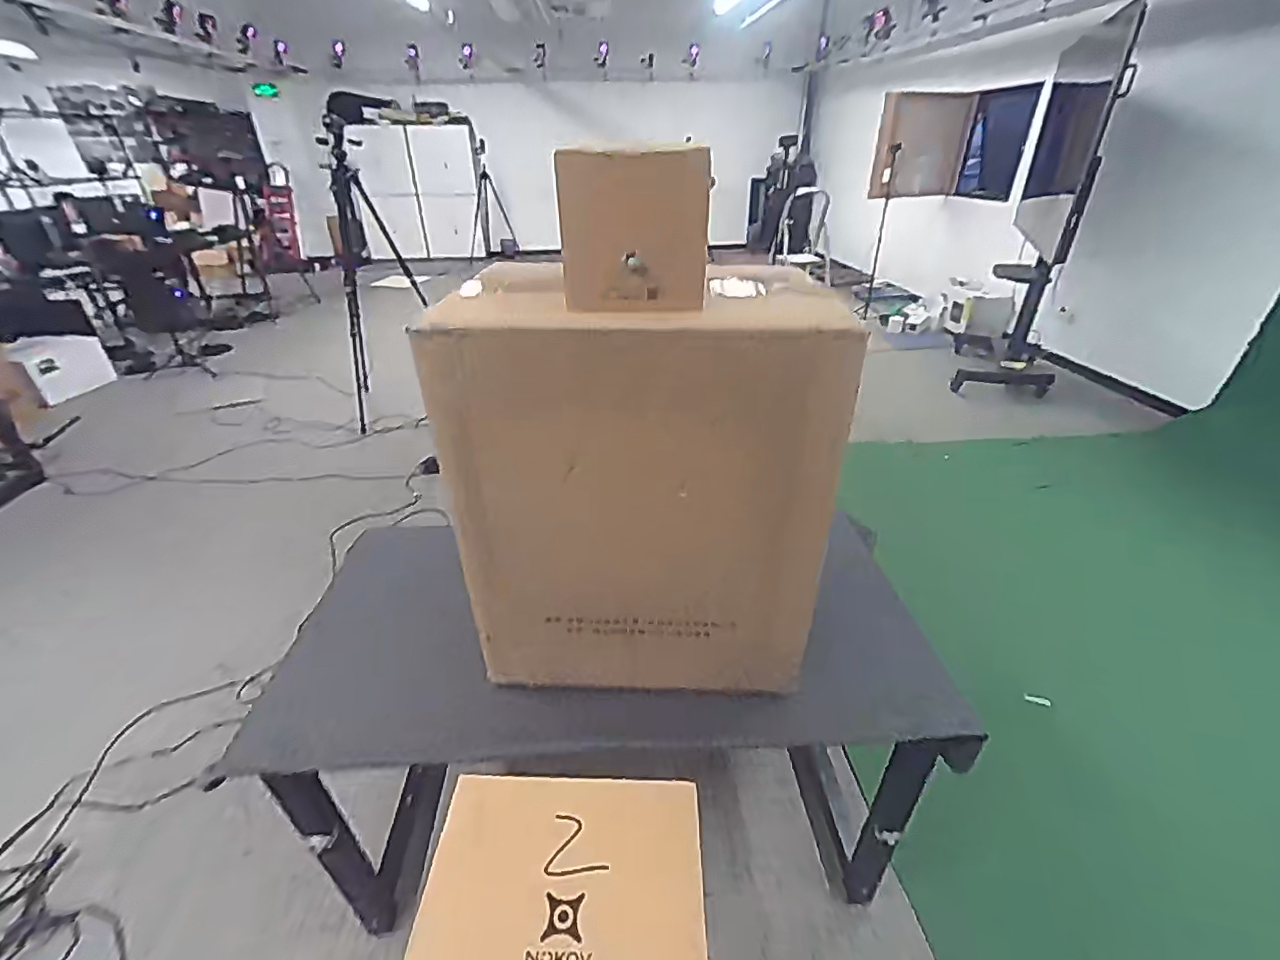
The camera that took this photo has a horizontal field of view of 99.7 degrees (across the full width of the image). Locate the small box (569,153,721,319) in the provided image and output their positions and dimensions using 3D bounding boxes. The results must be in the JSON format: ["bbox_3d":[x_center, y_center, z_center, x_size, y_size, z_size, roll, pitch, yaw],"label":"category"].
[{"bbox_3d":[0.006,-0.313,0.686,0.168,0.176,0.179,0,33,1],"label":"small box"}]
